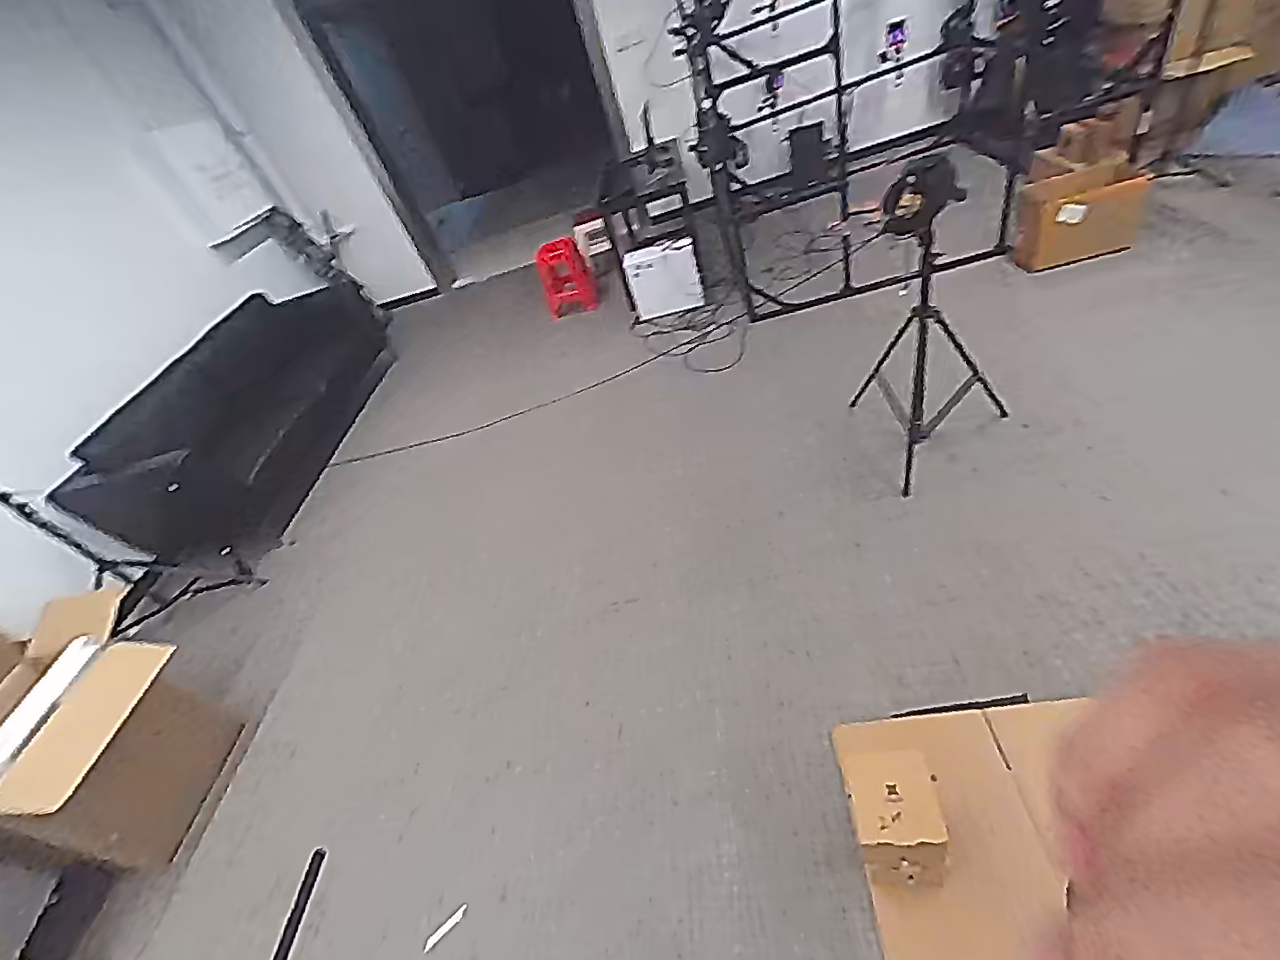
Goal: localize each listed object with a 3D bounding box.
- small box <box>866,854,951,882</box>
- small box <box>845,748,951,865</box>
[{"bbox_3d":[0.603,0.816,1.256,0.168,0.176,0.179,-11,43,14],"label":"small box"},{"bbox_3d":[0.543,0.698,1.157,0.168,0.176,0.179,-11,42,15],"label":"small box"}]
